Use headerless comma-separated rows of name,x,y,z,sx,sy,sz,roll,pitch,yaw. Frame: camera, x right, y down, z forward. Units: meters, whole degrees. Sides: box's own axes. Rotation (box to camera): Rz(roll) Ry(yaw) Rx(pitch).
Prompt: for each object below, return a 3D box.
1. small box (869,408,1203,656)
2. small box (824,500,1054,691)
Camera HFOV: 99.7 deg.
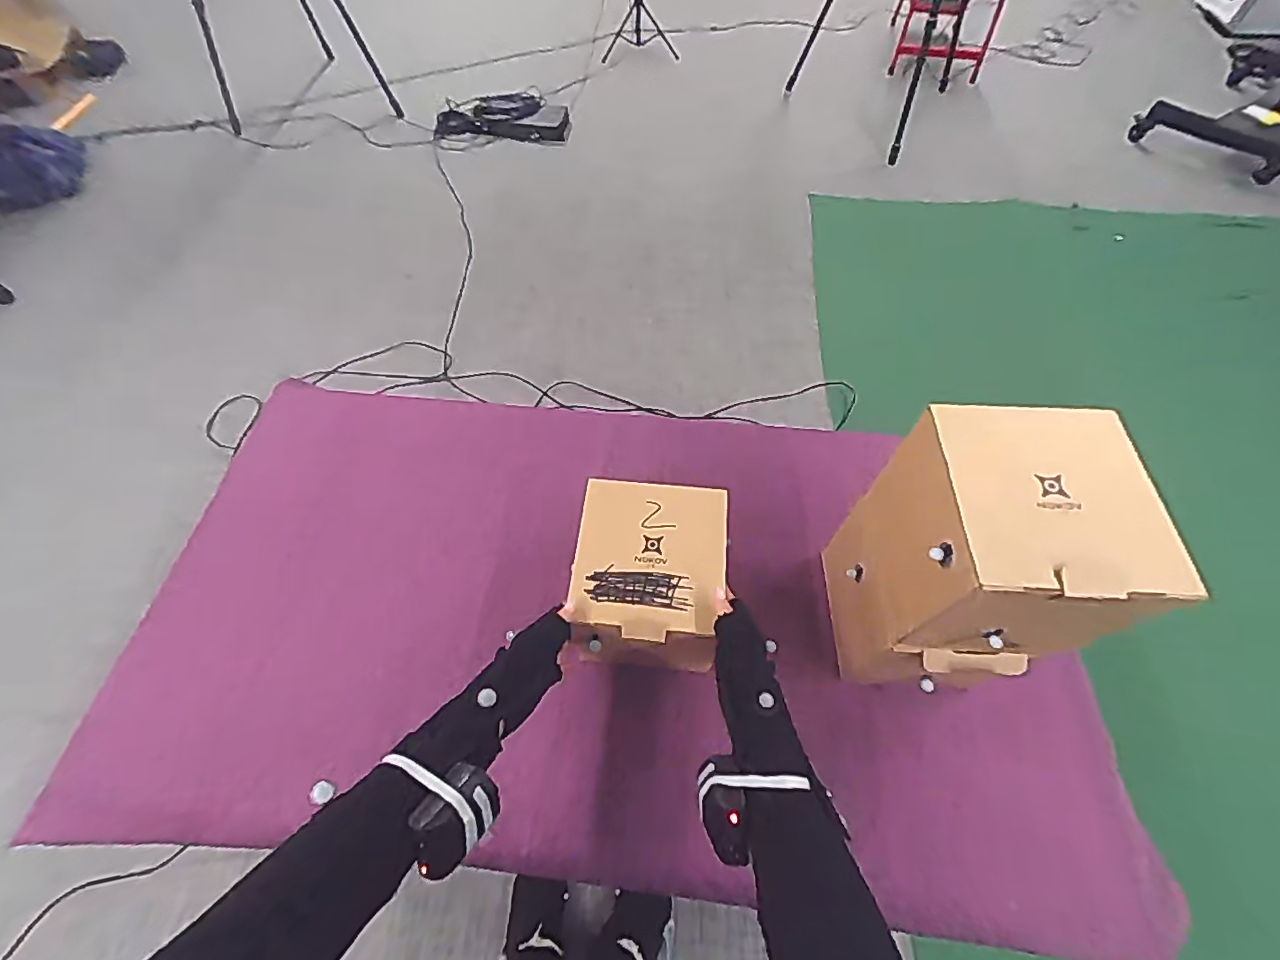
small box,0.336,0.055,0.509,0.168,0.176,0.179,2,60,1
small box,0.332,0.142,0.647,0.168,0.176,0.179,2,59,2
